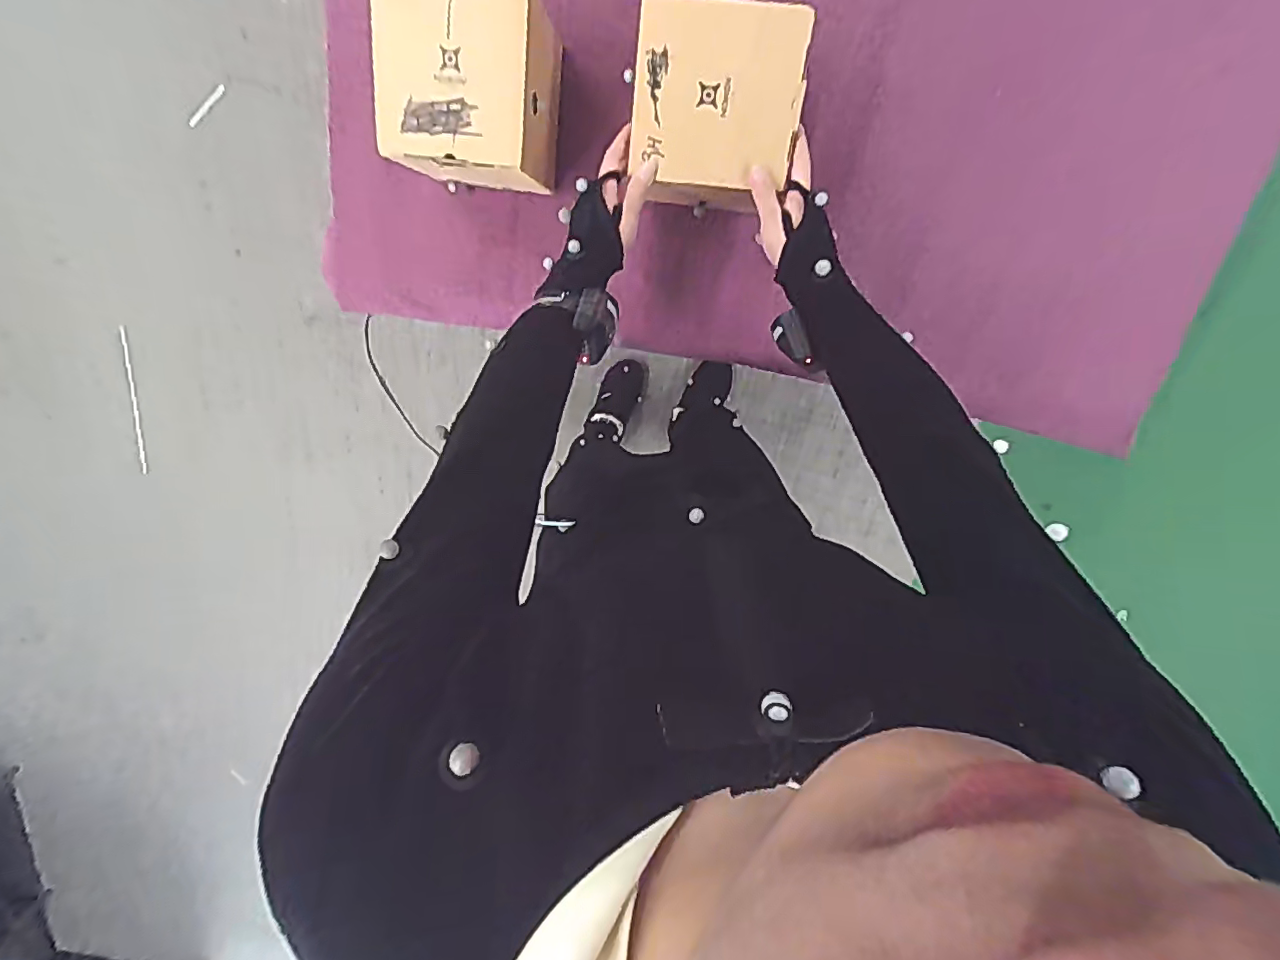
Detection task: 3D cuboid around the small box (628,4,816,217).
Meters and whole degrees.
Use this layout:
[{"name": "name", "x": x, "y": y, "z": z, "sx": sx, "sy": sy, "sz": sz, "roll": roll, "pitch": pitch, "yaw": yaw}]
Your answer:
[{"name": "small box", "x": 0.087, "y": -0.418, "z": 0.643, "sx": 0.179, "sy": 0.176, "sz": 0.168, "roll": 7, "pitch": 110, "yaw": 2}]

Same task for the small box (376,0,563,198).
[{"name": "small box", "x": -0.193, "y": -0.454, "z": 0.650, "sx": 0.168, "sy": 0.176, "sz": 0.179, "roll": 8, "pitch": 108, "yaw": 1}]
